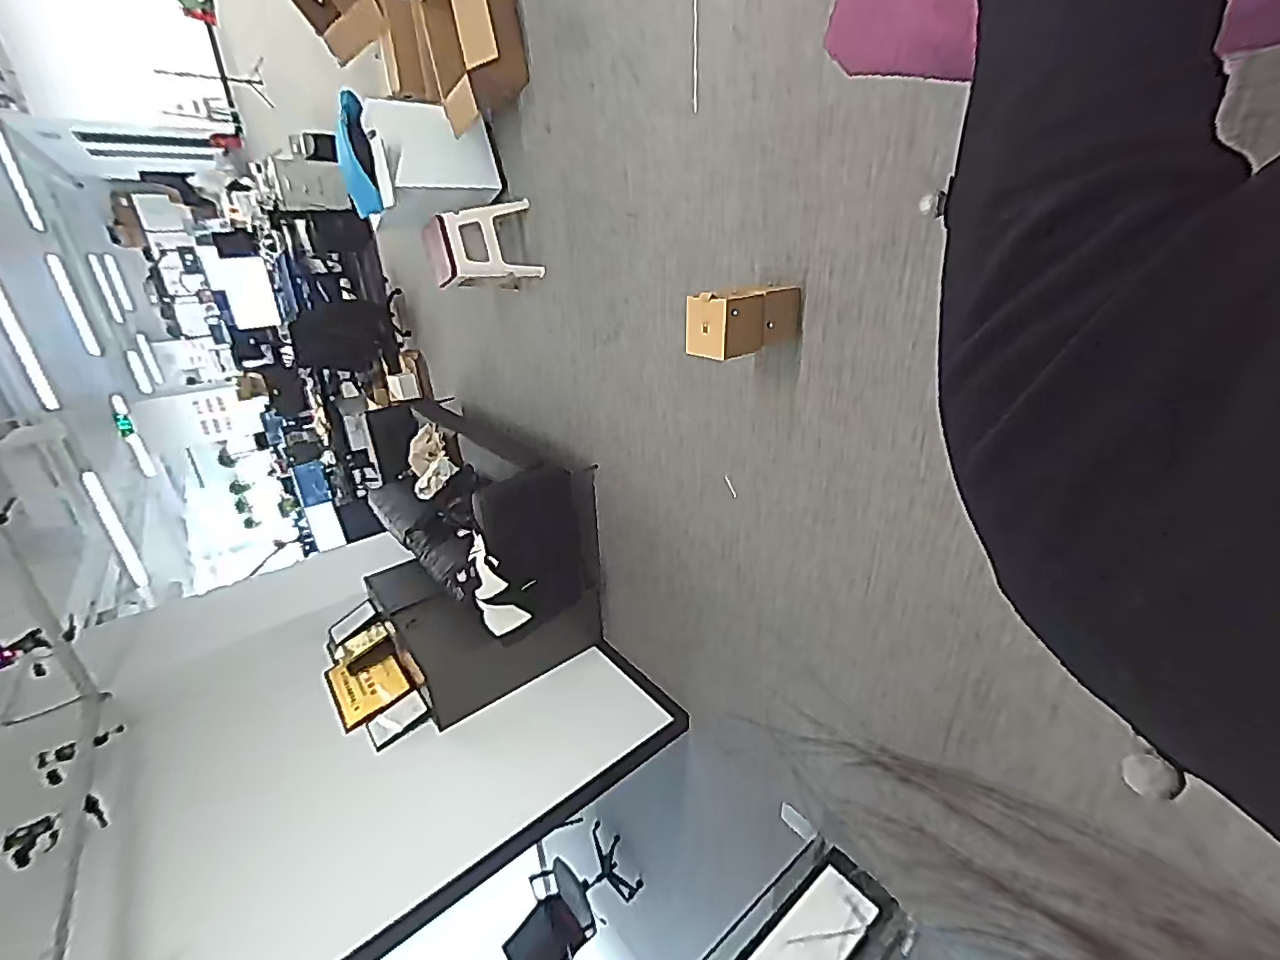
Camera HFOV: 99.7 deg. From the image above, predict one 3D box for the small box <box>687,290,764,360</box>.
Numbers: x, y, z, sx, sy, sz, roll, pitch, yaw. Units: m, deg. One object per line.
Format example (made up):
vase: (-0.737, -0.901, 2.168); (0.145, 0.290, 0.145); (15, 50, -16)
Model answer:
small box: (0.262, -0.479, 1.653); (0.168, 0.176, 0.179); (26, 126, 46)

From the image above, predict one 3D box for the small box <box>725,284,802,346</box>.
small box: (0.391, -0.535, 1.738); (0.179, 0.176, 0.168); (26, 127, 47)
